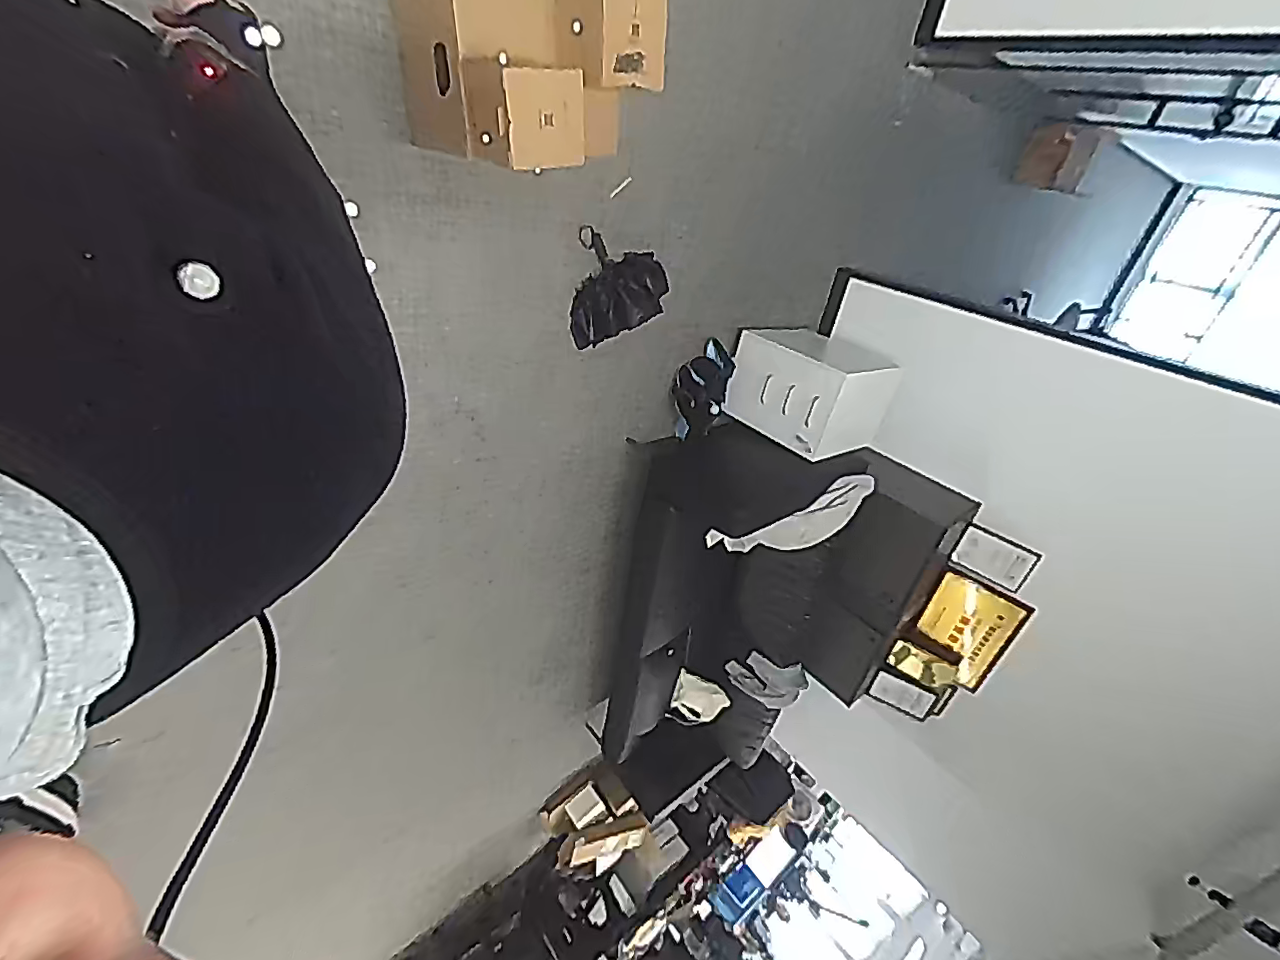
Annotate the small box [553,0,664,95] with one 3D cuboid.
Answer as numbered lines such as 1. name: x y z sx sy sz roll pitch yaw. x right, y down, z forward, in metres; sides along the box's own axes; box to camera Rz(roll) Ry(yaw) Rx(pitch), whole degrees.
1. small box: -0.070 -0.921 1.133 0.168 0.176 0.179 -23 131 -34

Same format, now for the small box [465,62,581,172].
1. small box: -0.239 -0.738 1.099 0.179 0.176 0.168 -28 139 -32
